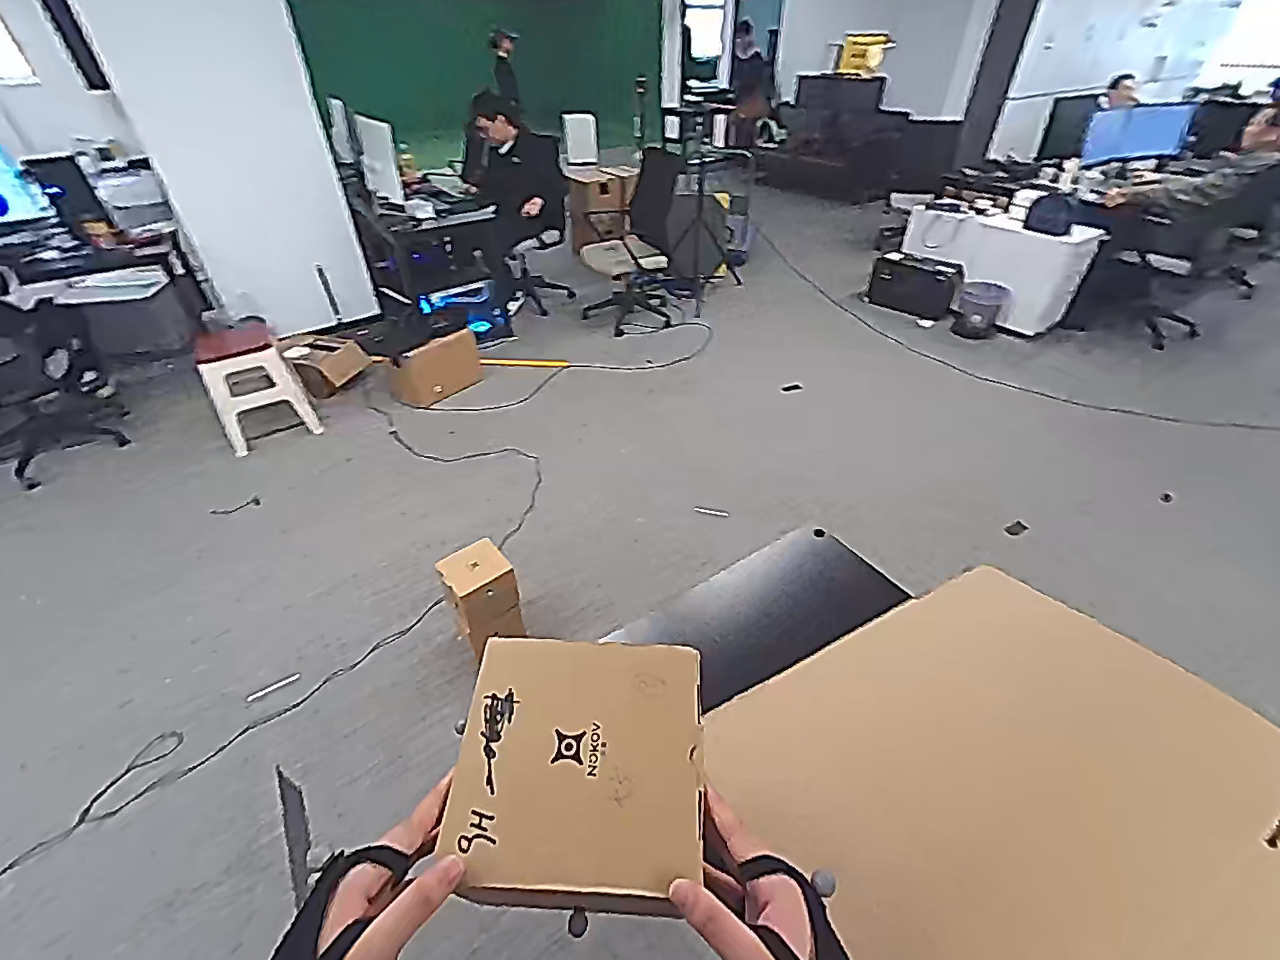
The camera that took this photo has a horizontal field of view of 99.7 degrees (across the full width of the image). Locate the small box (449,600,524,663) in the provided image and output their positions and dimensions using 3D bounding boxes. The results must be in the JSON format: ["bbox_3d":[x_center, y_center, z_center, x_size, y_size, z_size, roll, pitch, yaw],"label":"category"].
[{"bbox_3d":[-0.489,0.450,1.745,0.179,0.176,0.168,-27,46,-28],"label":"small box"}]

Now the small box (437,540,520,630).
[{"bbox_3d":[-0.485,0.321,1.645,0.179,0.176,0.168,-28,47,-31],"label":"small box"}]

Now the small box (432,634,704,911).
[{"bbox_3d":[-0.046,0.248,0.455,0.179,0.176,0.168,3,47,0],"label":"small box"}]
